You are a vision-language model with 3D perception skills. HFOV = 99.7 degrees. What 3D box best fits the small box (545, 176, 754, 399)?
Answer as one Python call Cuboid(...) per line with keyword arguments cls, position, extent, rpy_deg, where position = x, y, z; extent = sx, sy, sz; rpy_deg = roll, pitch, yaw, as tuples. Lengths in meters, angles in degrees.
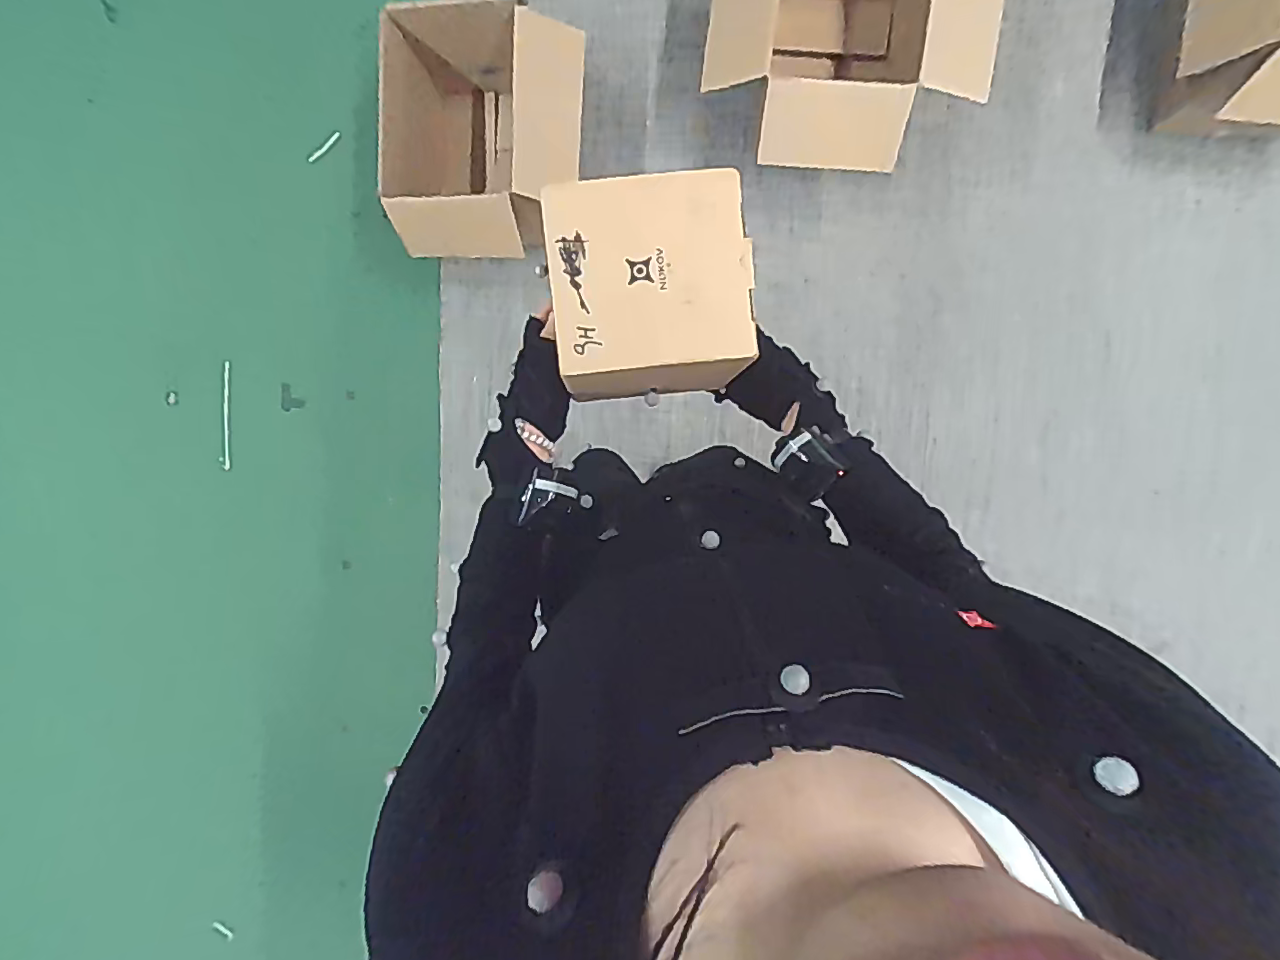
Cuboid(cls="small box", position=(0.004, -0.181, 0.551), extent=(0.179, 0.176, 0.168), rpy_deg=(-5, 89, -3))
